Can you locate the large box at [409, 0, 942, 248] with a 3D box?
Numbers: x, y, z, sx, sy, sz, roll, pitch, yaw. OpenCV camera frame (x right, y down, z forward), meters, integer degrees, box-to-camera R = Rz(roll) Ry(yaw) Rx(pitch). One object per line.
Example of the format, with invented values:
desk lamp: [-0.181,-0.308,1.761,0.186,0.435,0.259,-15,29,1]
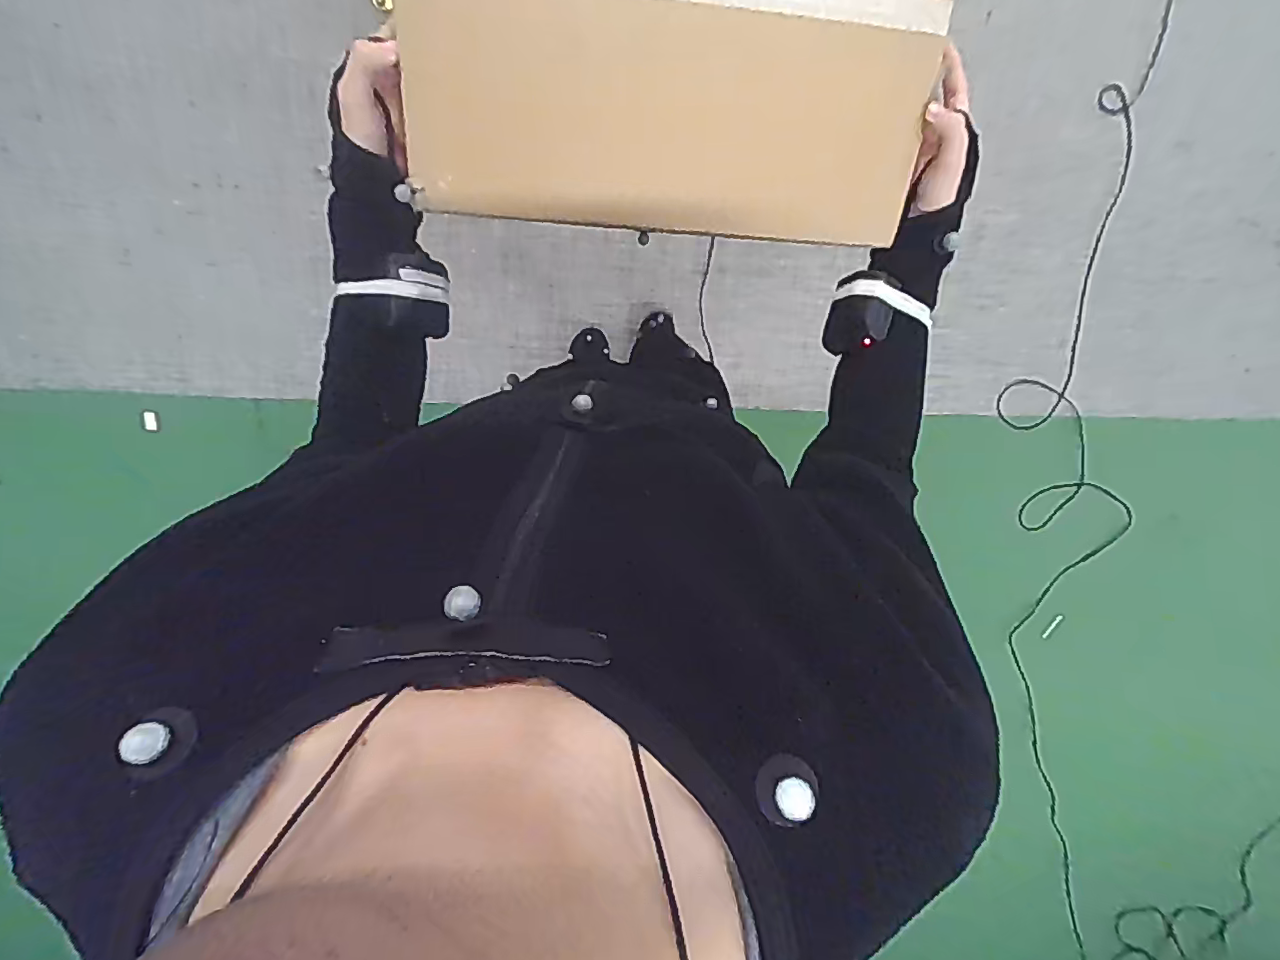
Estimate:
large box: [0.020,-0.419,0.533,0.408,0.320,0.320,2,115,-7]
